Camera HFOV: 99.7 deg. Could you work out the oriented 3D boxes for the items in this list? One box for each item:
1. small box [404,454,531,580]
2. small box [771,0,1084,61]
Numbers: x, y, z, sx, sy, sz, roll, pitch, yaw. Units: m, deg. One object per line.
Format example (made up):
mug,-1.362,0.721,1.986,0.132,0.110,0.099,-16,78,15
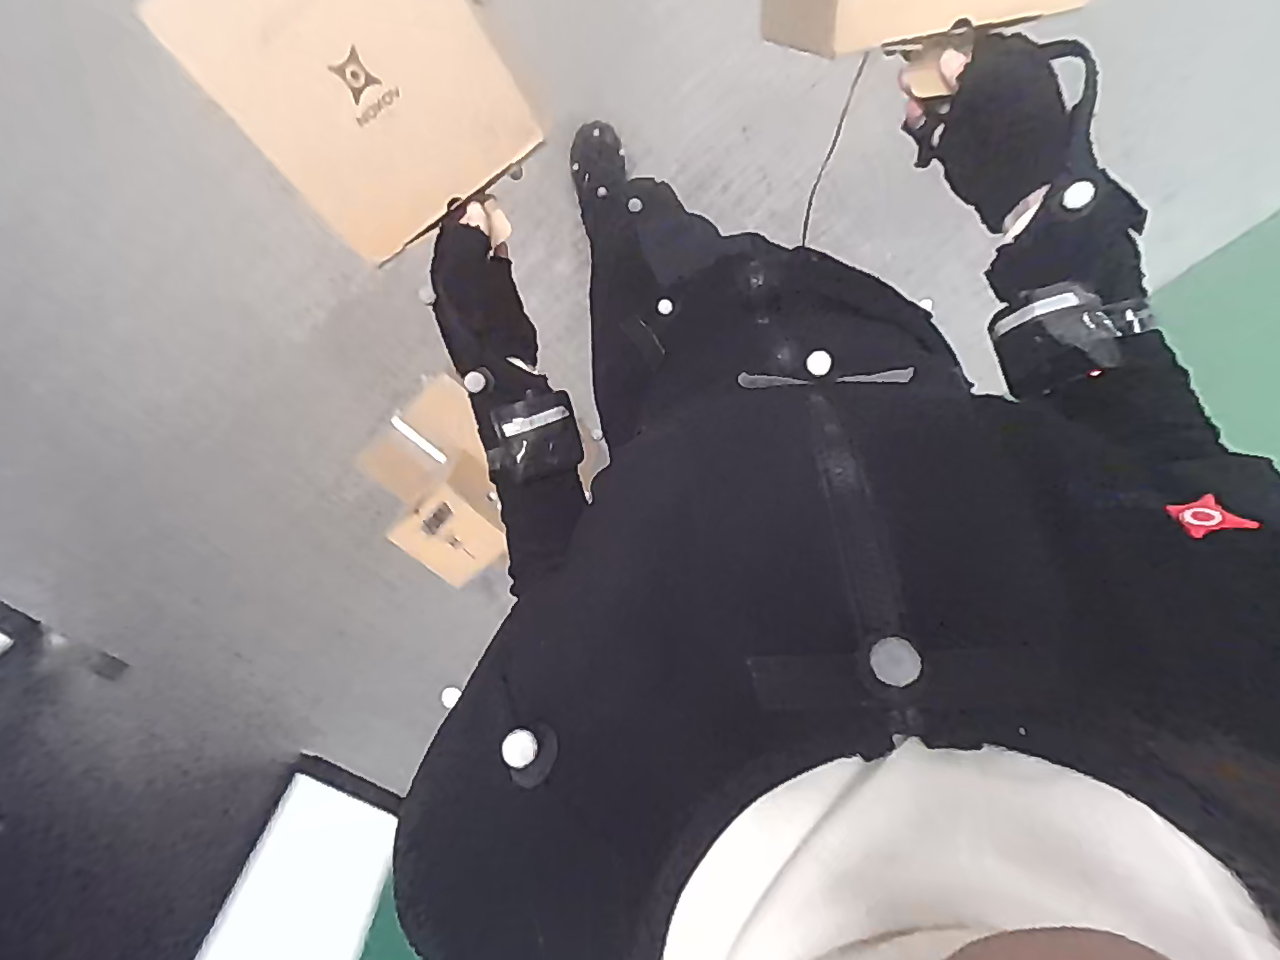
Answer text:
small box,-0.350,0.066,1.132,0.168,0.176,0.179,-42,112,15
small box,0.187,-0.403,0.350,0.168,0.176,0.179,-9,134,1
